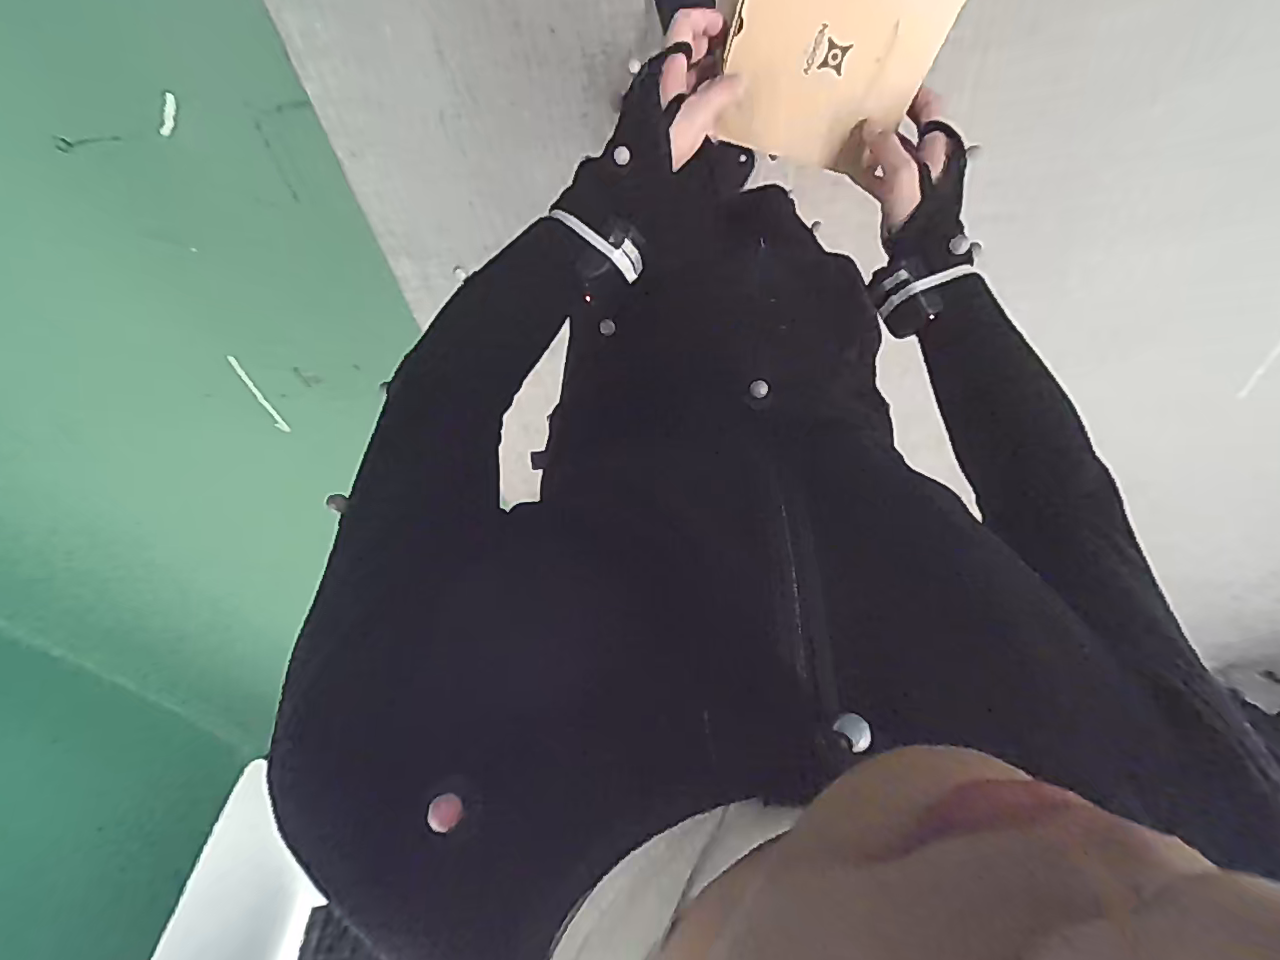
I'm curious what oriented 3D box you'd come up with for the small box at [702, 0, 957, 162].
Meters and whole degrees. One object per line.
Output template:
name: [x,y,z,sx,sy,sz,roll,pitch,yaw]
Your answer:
small box: [0.163,-0.434,0.502,0.179,0.176,0.168,11,139,-10]
